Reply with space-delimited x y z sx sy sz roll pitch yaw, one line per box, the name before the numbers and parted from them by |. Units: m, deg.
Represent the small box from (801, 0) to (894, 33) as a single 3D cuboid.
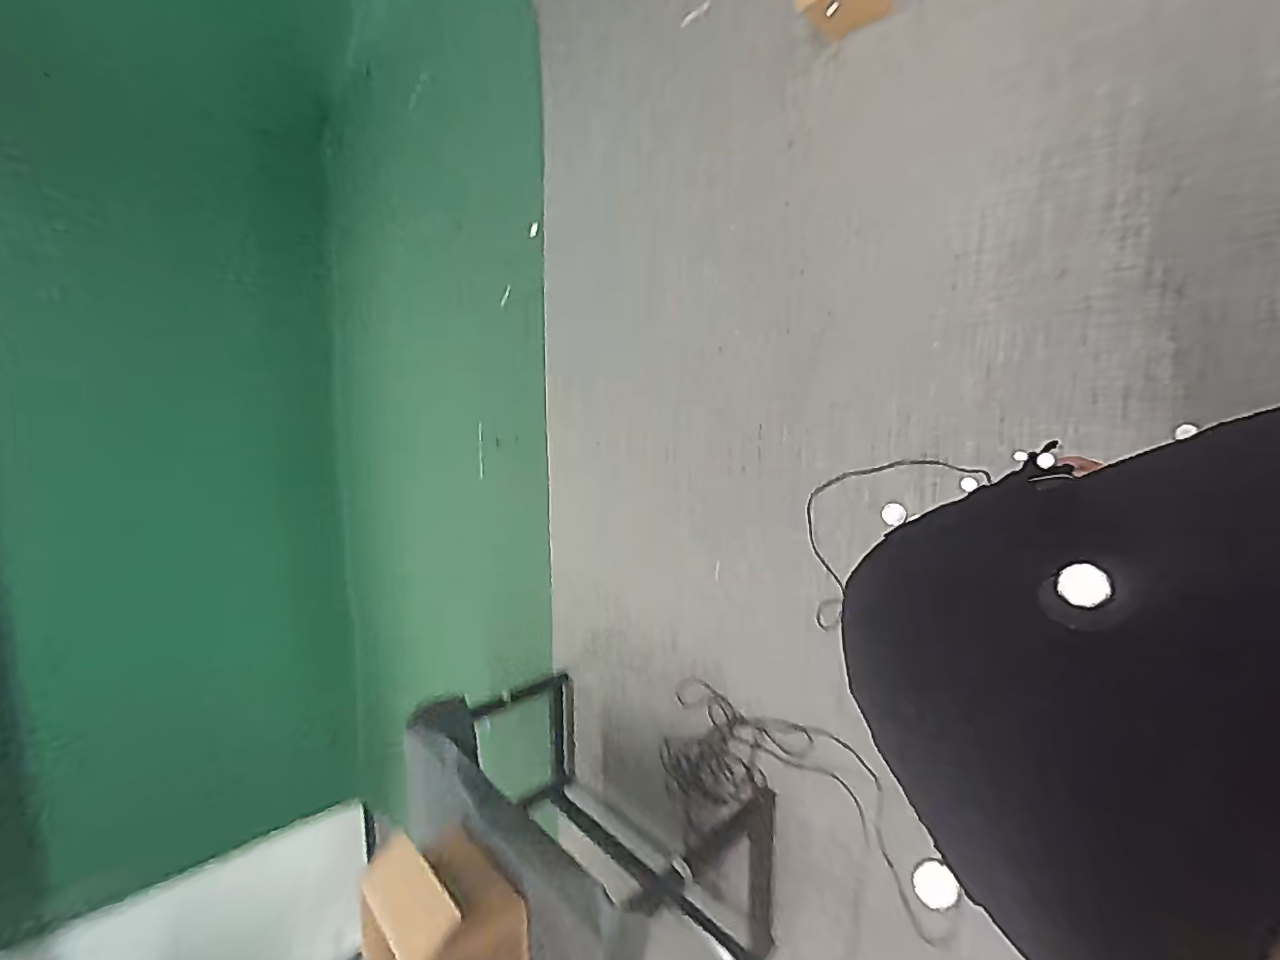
small box | 0.502 -1.209 1.266 0.179 0.176 0.168 11 103 46
